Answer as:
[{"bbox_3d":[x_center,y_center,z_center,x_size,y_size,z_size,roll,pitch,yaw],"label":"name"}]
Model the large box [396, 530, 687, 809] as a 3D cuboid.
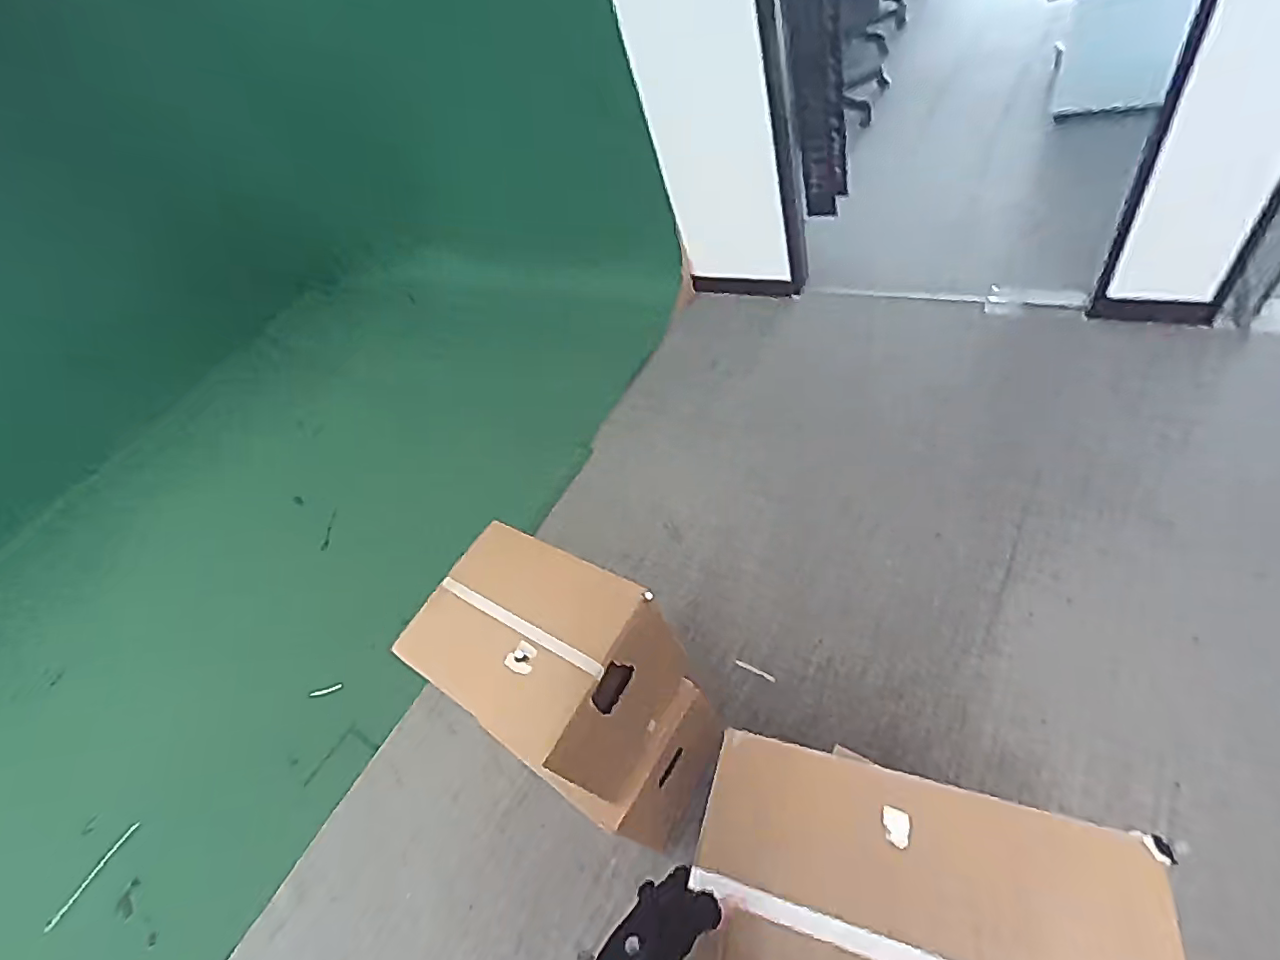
[{"bbox_3d":[-0.175,0.356,1.063,0.408,0.320,0.320,19,59,33],"label":"large box"}]
